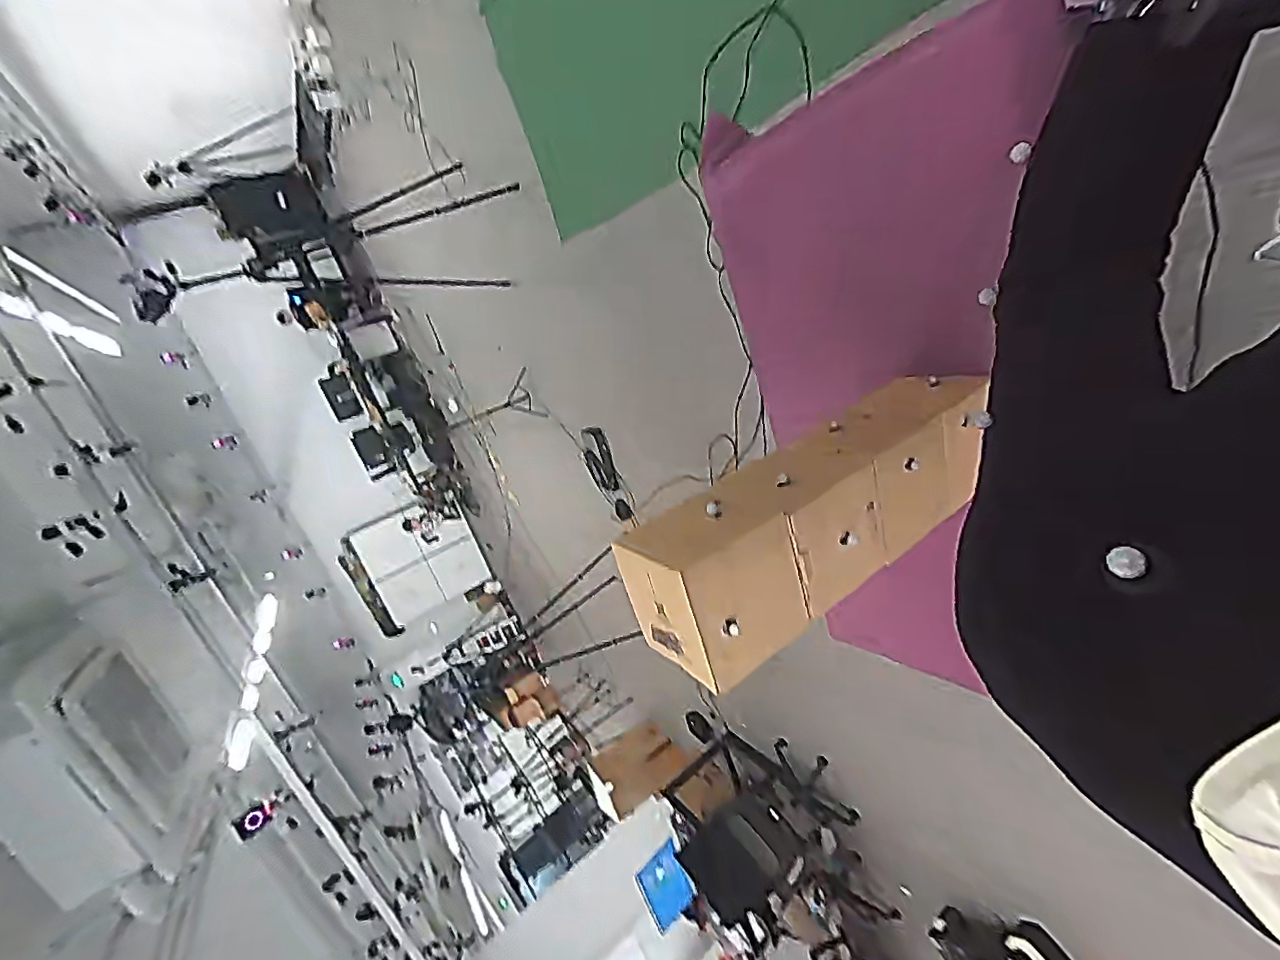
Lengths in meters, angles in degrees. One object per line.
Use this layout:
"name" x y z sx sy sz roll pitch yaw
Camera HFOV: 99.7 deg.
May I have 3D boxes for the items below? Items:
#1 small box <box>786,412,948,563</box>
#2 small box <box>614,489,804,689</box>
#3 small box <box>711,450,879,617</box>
"small box" 0.362 -0.001 0.860 0.168 0.176 0.179 16 128 56
"small box" 0.096 0.132 0.724 0.168 0.176 0.179 13 124 58
"small box" 0.229 0.065 0.794 0.179 0.176 0.168 15 126 56
